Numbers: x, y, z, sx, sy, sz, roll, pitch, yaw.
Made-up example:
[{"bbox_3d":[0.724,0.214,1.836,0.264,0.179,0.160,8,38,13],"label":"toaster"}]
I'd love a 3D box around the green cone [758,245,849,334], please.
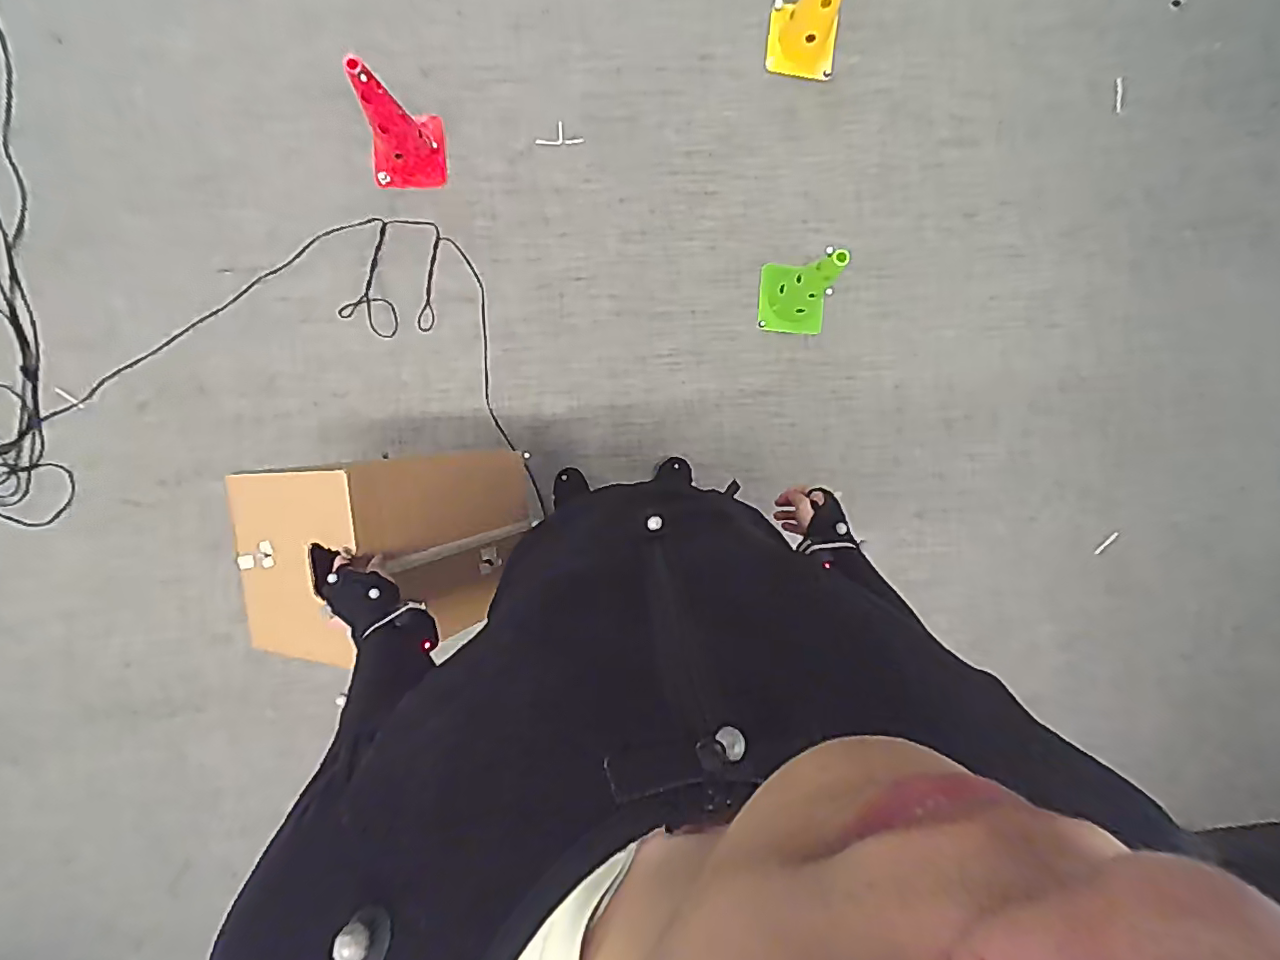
[{"bbox_3d":[0.473,-0.542,1.470,0.200,0.368,0.202,2,91,-5],"label":"green cone"}]

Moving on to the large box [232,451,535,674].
[{"bbox_3d":[-0.458,0.124,1.034,0.320,0.408,0.320,-1,97,25],"label":"large box"}]
